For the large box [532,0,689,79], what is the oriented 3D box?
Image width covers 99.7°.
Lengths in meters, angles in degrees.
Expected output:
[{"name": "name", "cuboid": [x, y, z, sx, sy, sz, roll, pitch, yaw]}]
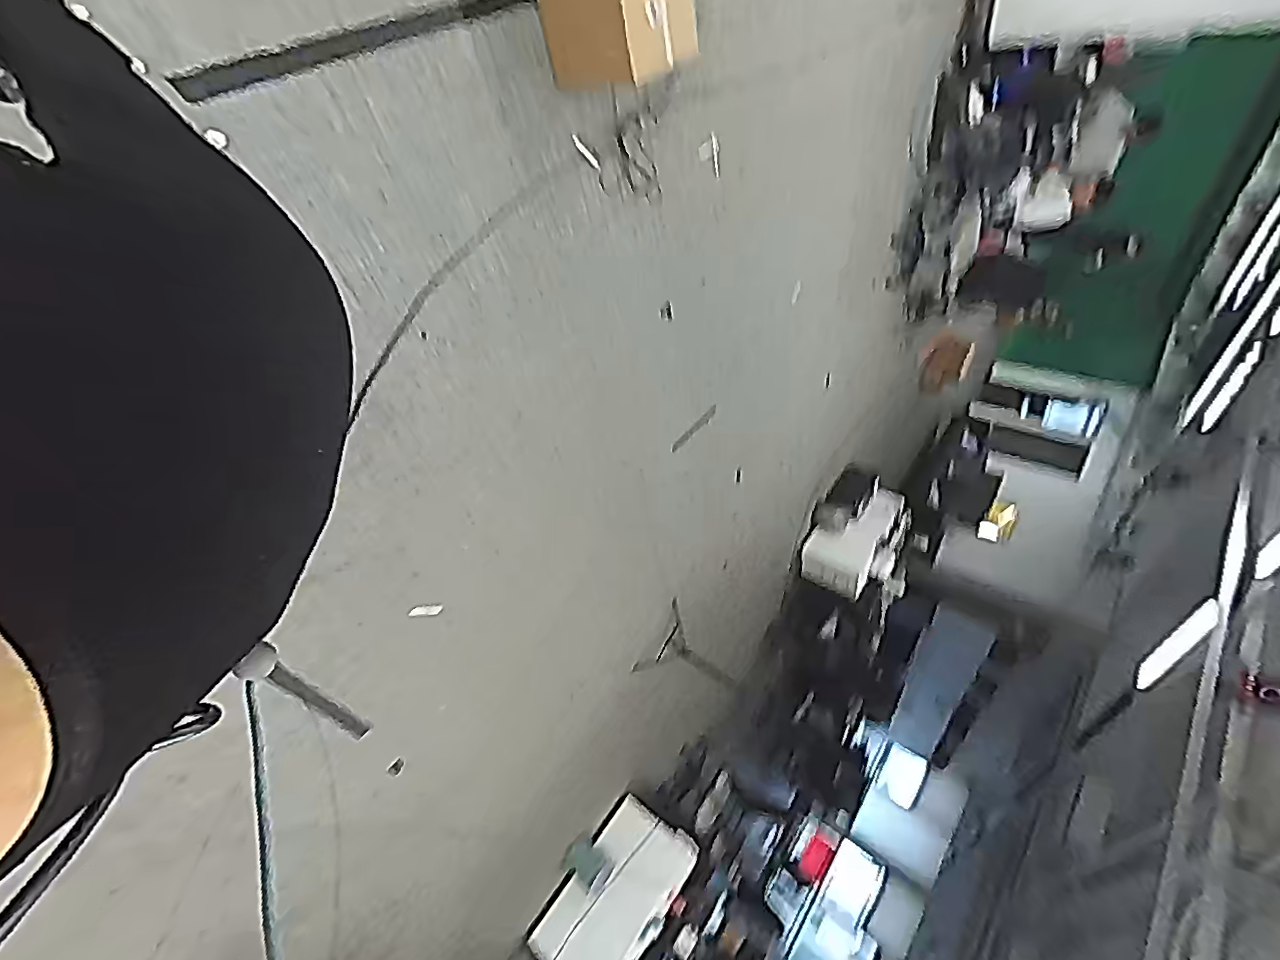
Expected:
[{"name": "large box", "cuboid": [-0.098, -1.381, 1.470, 0.320, 0.320, 0.408, -46, 142, -27]}]
